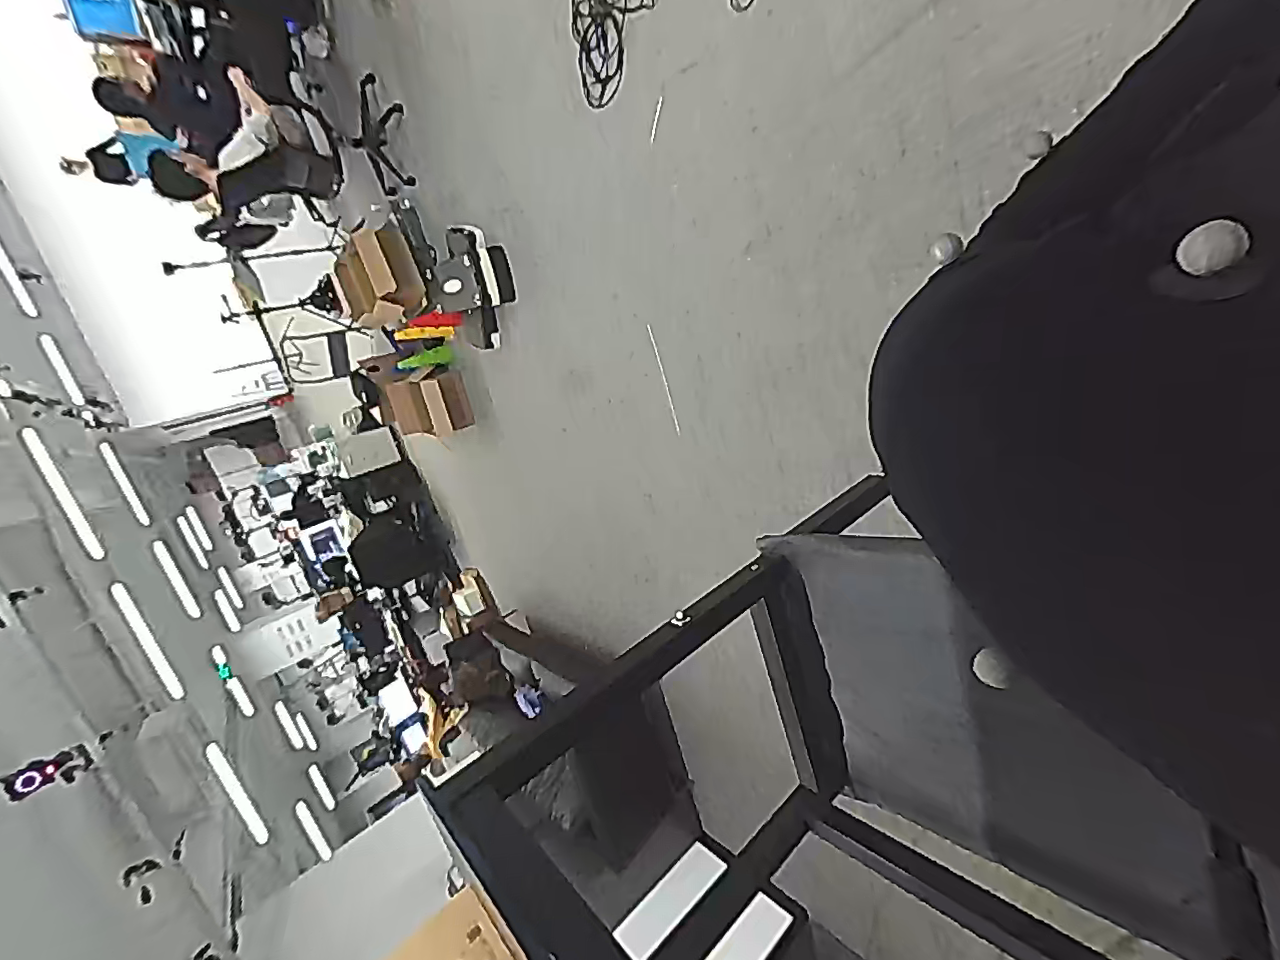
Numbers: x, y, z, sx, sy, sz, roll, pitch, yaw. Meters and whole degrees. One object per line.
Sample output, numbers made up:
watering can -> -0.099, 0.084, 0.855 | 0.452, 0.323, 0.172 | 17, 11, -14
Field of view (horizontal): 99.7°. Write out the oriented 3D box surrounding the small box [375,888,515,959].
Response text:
small box -> -0.194, 0.592, 0.559 | 0.168, 0.176, 0.179 | 9, 117, 50
